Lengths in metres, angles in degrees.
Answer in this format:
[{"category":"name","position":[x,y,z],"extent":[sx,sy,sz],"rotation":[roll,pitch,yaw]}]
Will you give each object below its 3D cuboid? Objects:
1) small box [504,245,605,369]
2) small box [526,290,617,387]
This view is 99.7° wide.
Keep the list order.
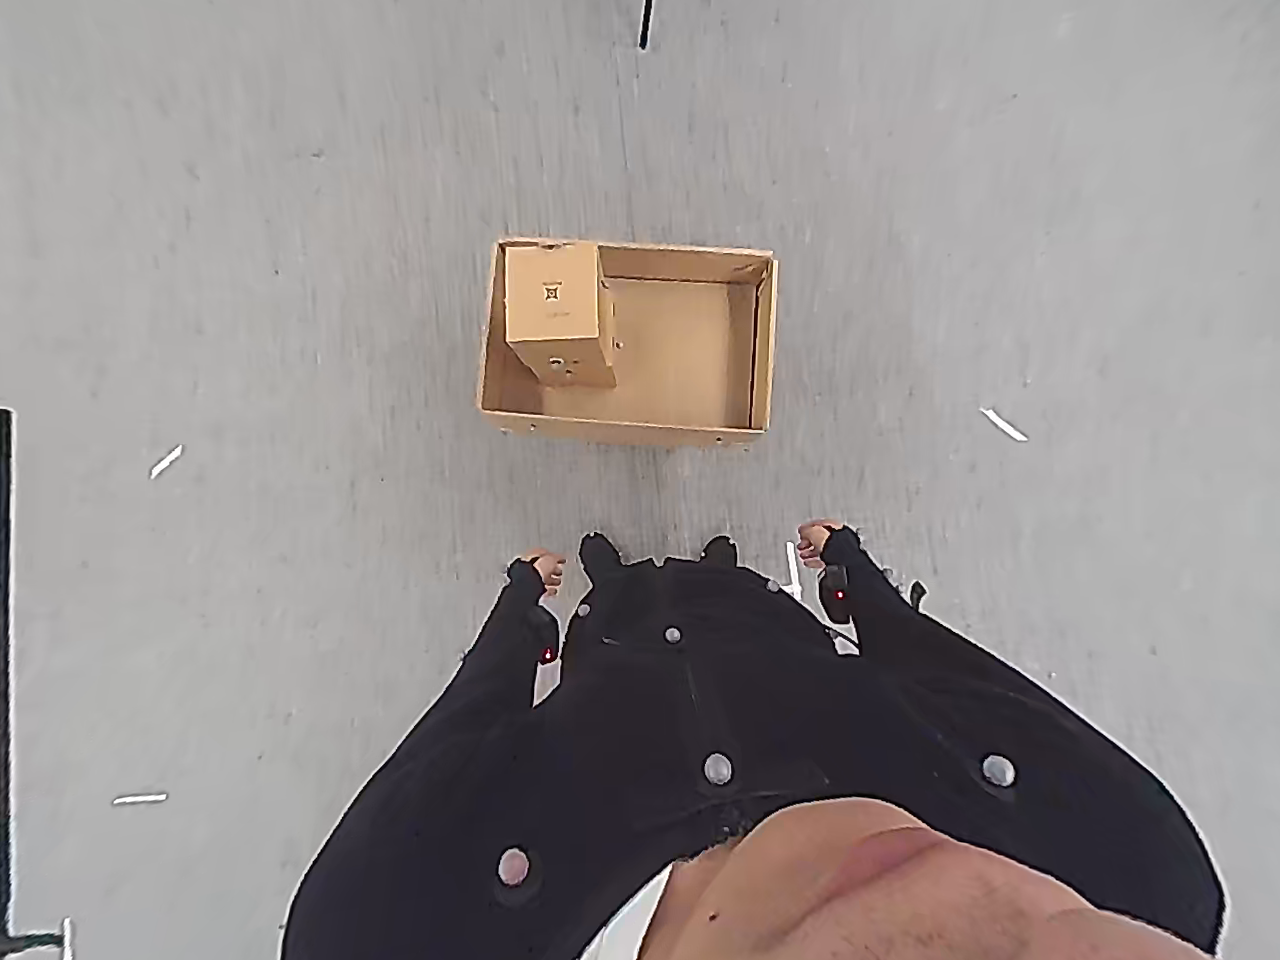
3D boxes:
[{"category":"small box","position":[-0.157,-0.323,1.032],"extent":[0.168,0.176,0.179],"rotation":[-2,84,1]},{"category":"small box","position":[-0.145,-0.307,1.195],"extent":[0.179,0.176,0.168],"rotation":[1,85,0]}]
